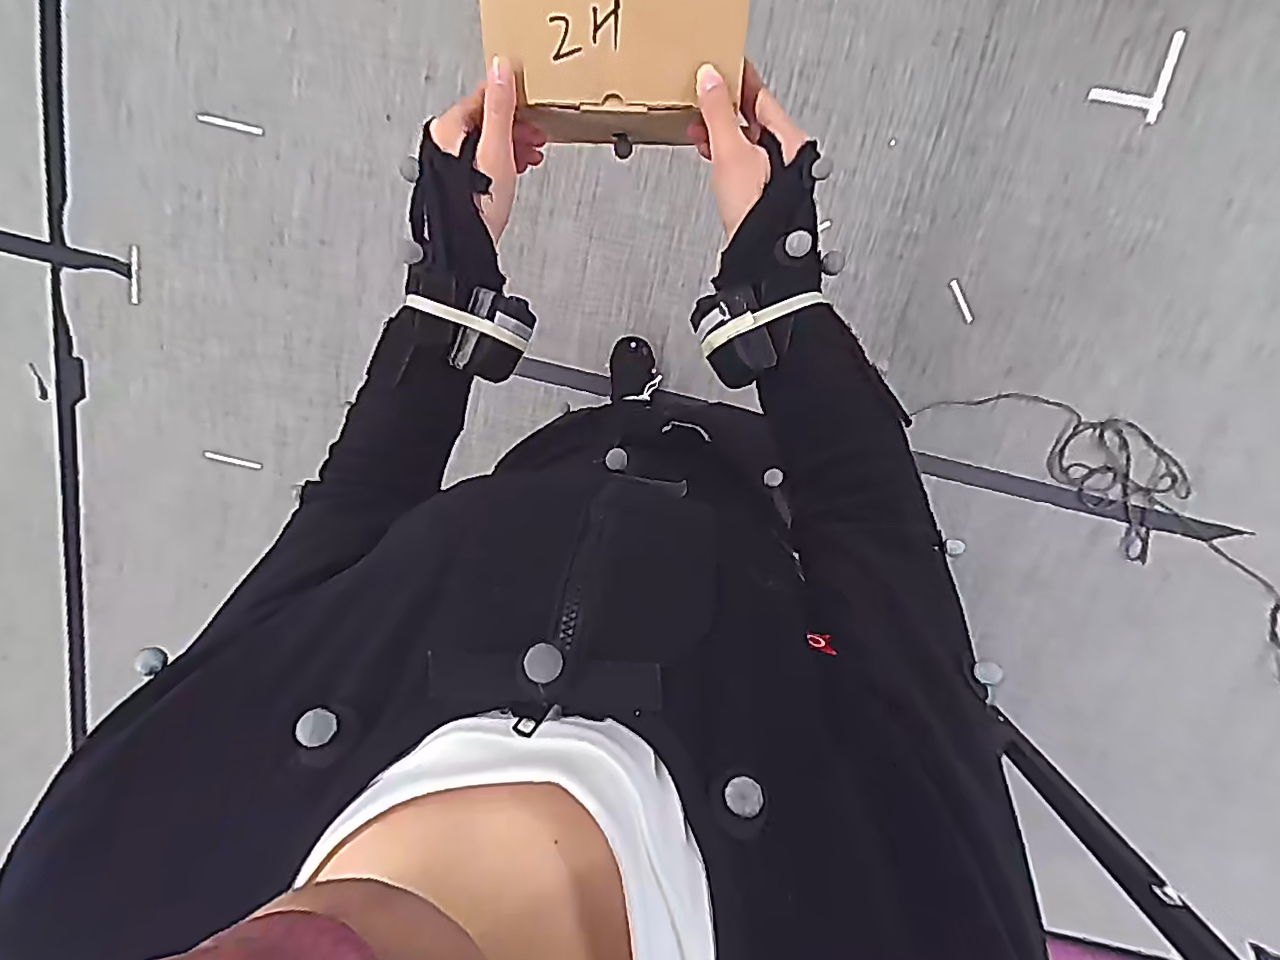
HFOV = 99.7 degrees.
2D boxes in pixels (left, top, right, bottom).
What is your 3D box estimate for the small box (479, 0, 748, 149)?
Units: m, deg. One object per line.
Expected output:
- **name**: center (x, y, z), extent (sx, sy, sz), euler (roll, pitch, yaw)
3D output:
- **small box**: center (-0.012, -0.354, 0.385), extent (0.168, 0.176, 0.179), euler (3, 114, 2)
